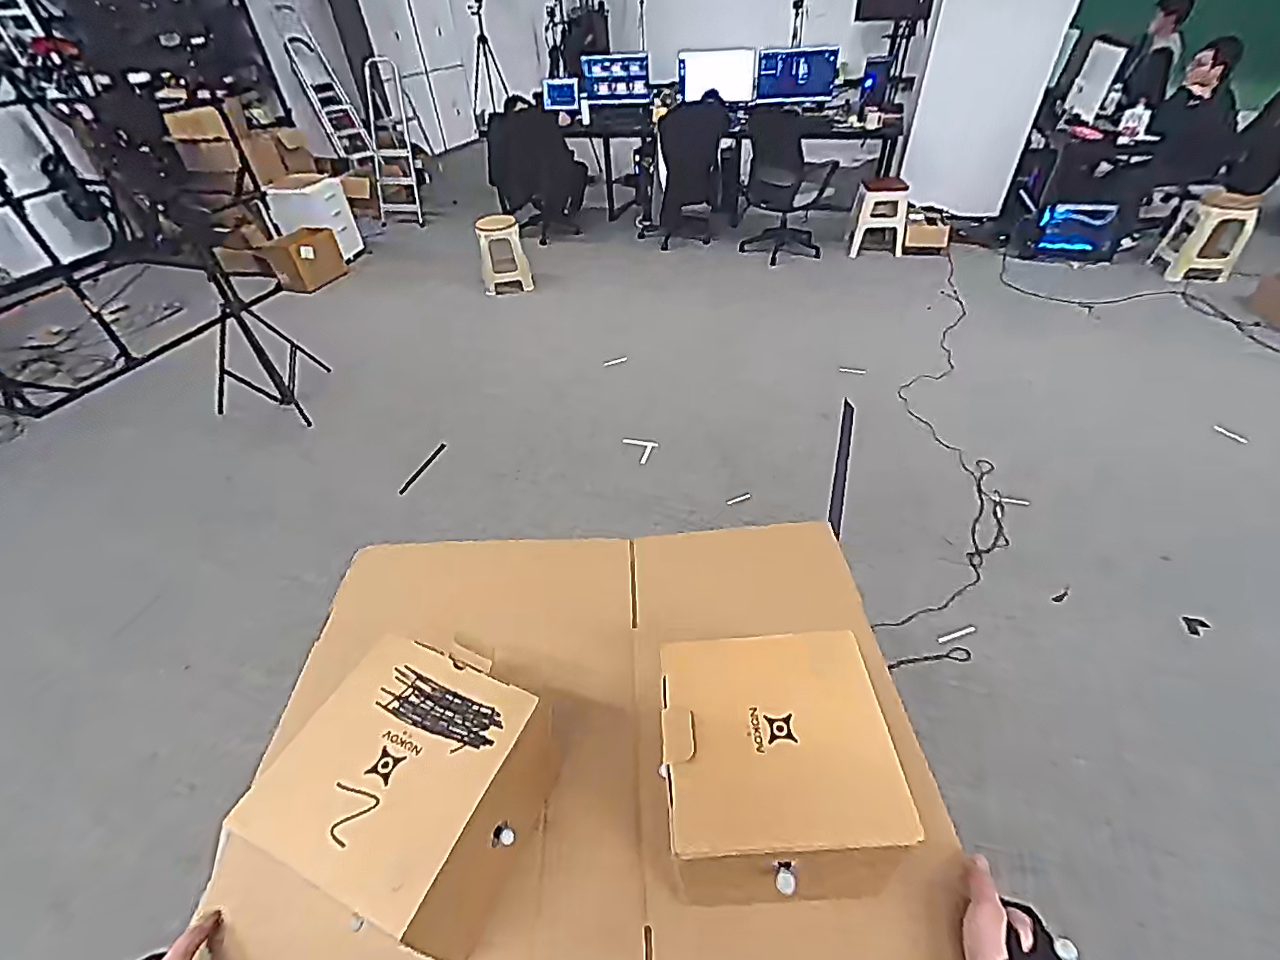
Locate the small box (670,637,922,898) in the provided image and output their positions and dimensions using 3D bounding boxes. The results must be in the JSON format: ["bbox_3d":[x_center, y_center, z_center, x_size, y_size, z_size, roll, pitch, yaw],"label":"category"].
[{"bbox_3d":[0.123,0.266,0.499,0.179,0.176,0.168,-6,42,3],"label":"small box"}]
